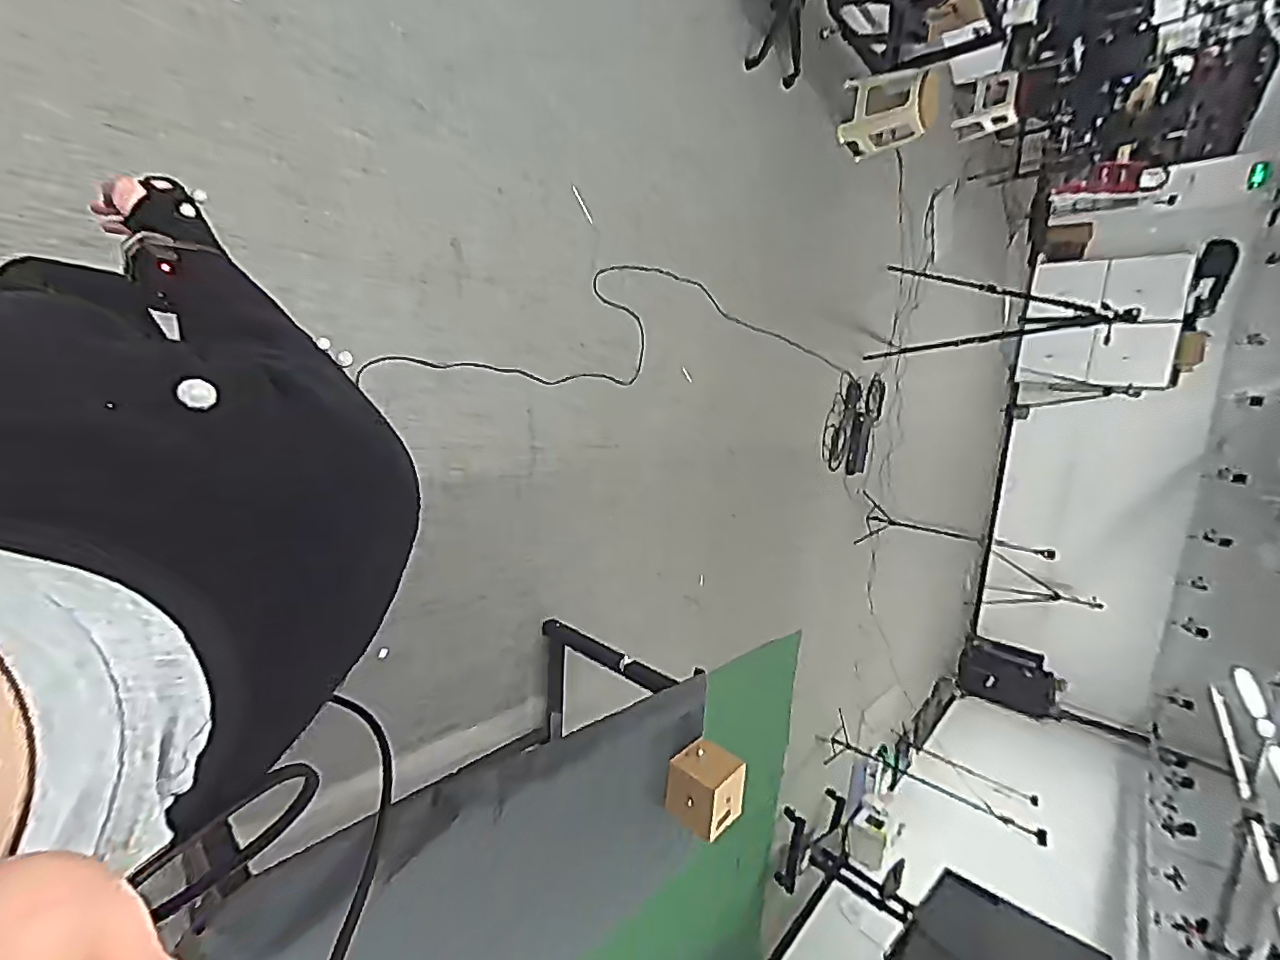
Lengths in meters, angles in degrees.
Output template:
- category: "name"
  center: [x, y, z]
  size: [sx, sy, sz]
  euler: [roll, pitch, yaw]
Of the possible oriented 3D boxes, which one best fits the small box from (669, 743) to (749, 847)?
- category: "small box"
  center: [0.202, 0.927, 1.608]
  size: [0.168, 0.176, 0.179]
  euler: [-8, 105, -47]
